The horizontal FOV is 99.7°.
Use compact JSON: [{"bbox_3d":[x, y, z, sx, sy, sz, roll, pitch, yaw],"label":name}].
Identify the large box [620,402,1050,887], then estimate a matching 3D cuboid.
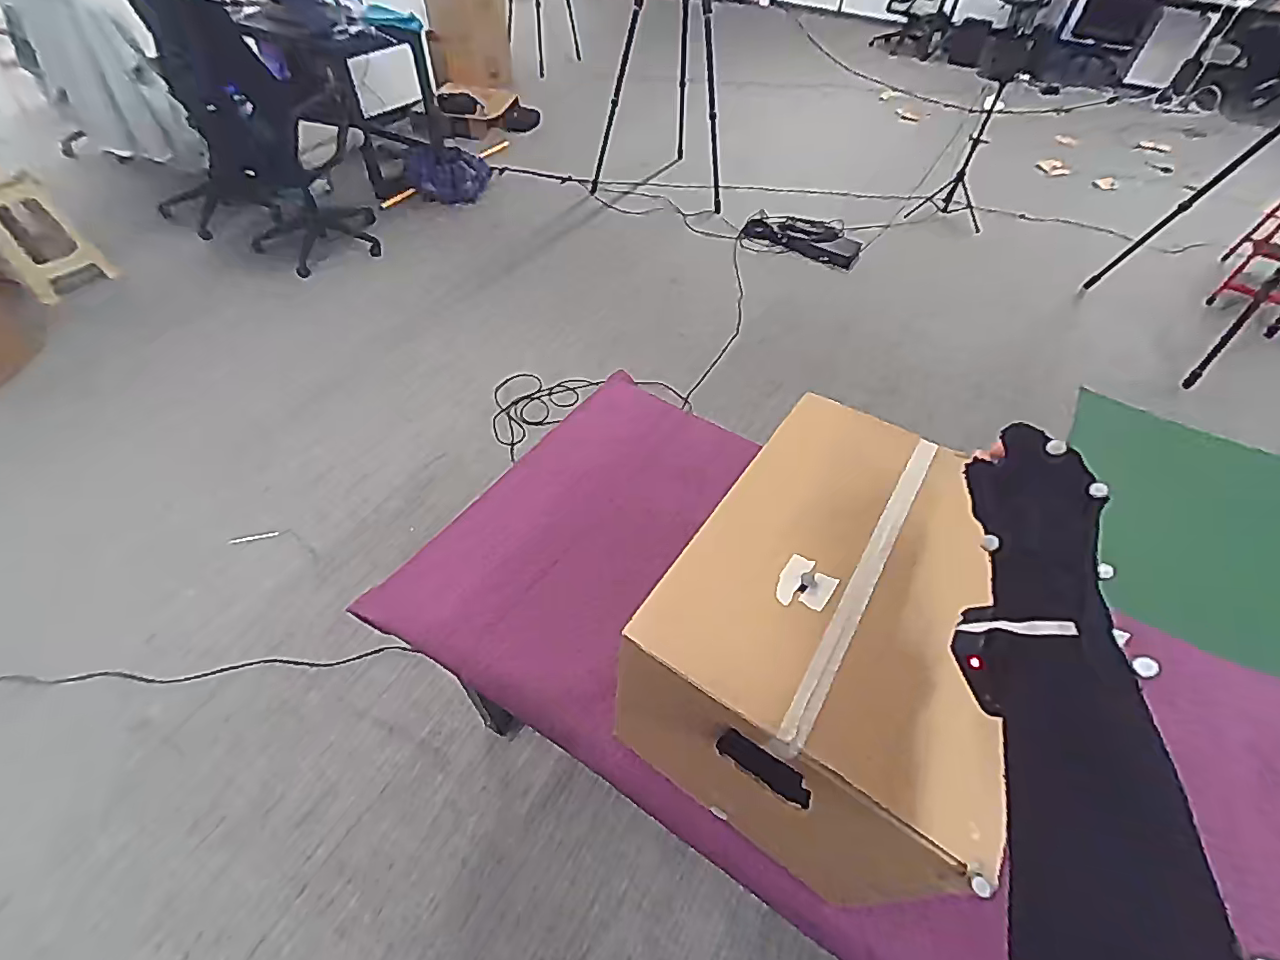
[{"bbox_3d":[0.214,0.183,0.658,0.320,0.320,0.408,30,55,20],"label":"large box"}]
